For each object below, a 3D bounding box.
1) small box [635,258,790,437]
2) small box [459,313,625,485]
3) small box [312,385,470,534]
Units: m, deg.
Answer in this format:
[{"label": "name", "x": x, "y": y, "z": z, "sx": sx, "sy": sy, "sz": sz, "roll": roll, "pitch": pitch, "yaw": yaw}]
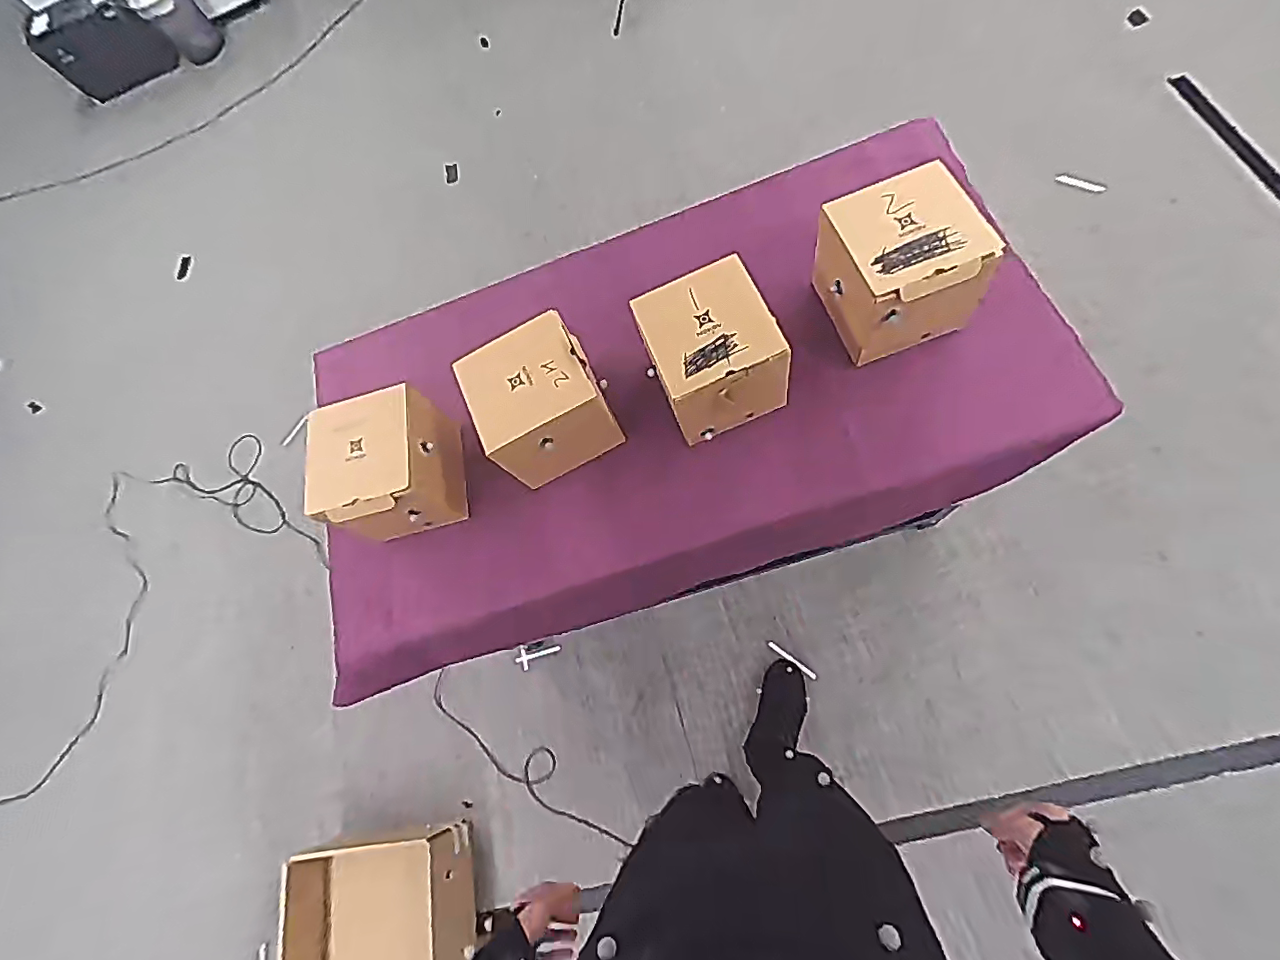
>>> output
[{"label": "small box", "x": 0.111, "y": -0.182, "z": 0.803, "sx": 0.168, "sy": 0.176, "sz": 0.179, "roll": -23, "pitch": 68, "yaw": 4}, {"label": "small box", "x": -0.144, "y": -0.114, "z": 0.837, "sx": 0.179, "sy": 0.176, "sz": 0.168, "roll": -27, "pitch": 69, "yaw": 2}, {"label": "small box", "x": -0.386, "y": -0.020, "z": 0.861, "sx": 0.168, "sy": 0.176, "sz": 0.179, "roll": -14, "pitch": 69, "yaw": 7}]
